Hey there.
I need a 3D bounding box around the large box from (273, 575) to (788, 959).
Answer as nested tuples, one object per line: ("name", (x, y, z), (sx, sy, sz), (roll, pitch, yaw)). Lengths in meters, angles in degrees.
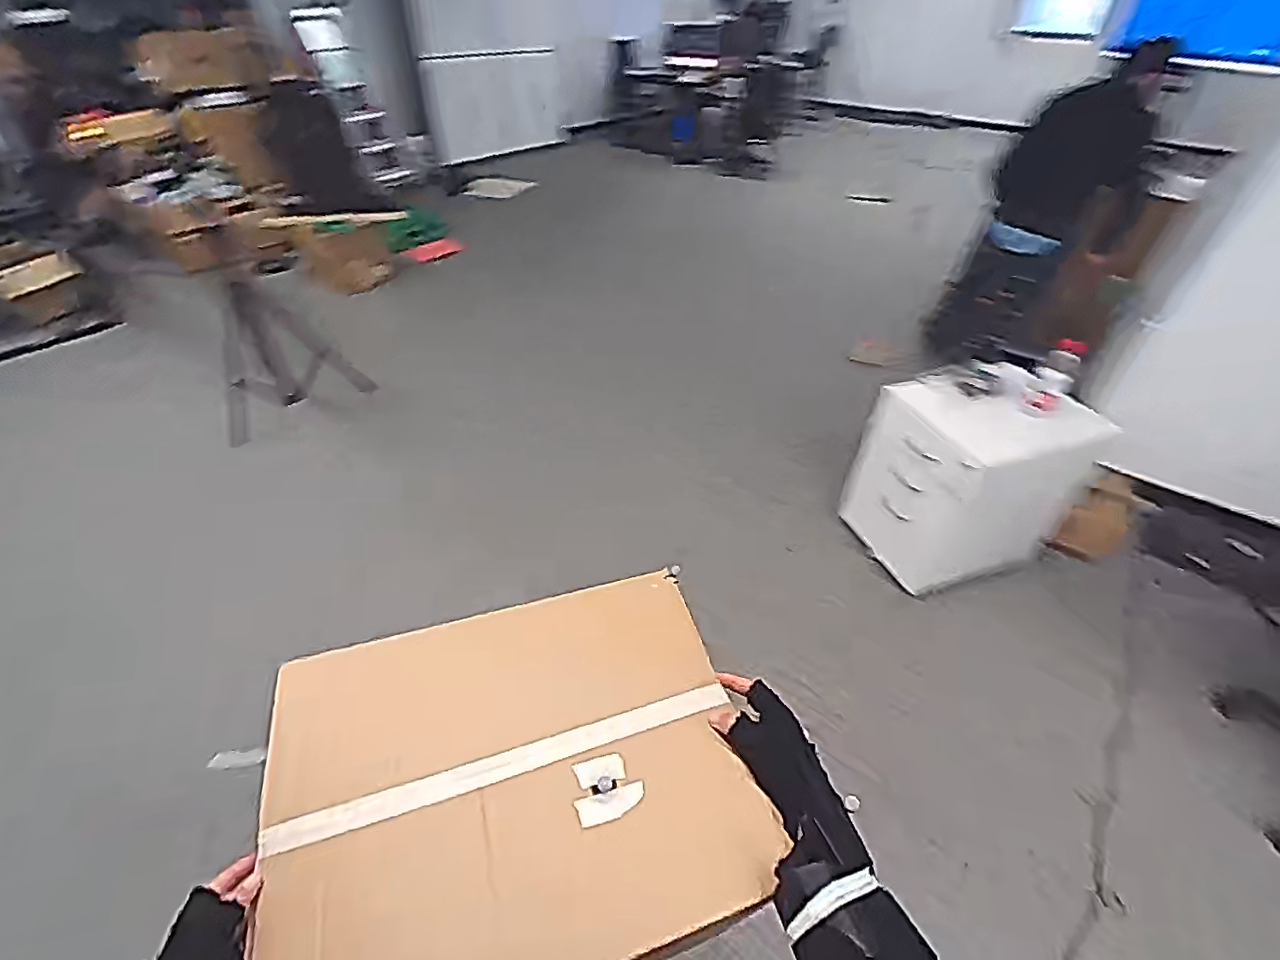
("large box", (-0.119, 0.362, 0.600), (0.408, 0.320, 0.320), (-12, 49, -17))
